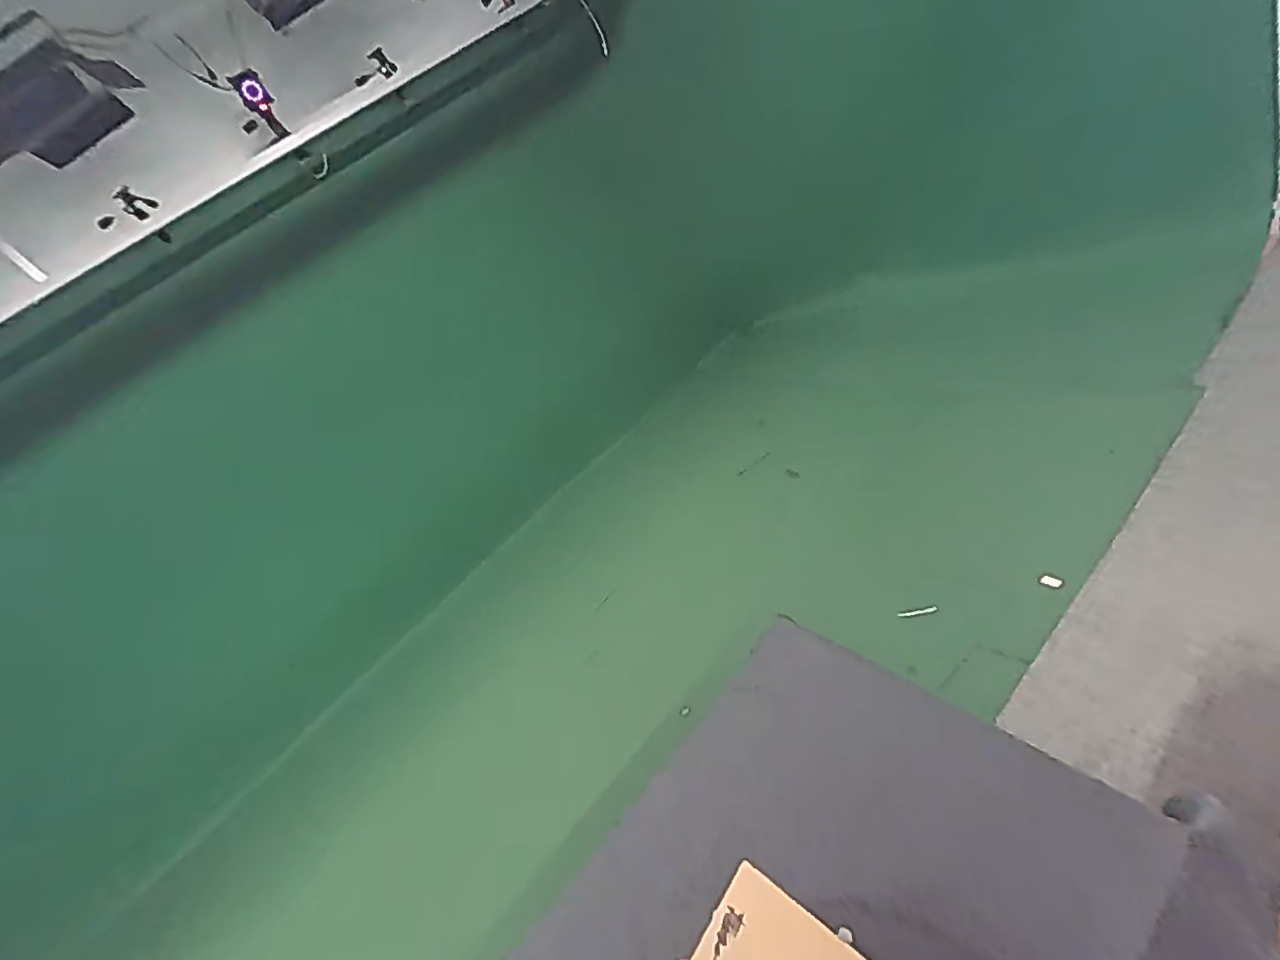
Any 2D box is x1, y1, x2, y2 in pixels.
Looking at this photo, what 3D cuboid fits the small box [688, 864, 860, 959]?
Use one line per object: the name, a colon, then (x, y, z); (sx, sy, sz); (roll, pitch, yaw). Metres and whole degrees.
small box: (0.163, 0.563, 0.567); (0.179, 0.176, 0.168); (7, 49, 51)
